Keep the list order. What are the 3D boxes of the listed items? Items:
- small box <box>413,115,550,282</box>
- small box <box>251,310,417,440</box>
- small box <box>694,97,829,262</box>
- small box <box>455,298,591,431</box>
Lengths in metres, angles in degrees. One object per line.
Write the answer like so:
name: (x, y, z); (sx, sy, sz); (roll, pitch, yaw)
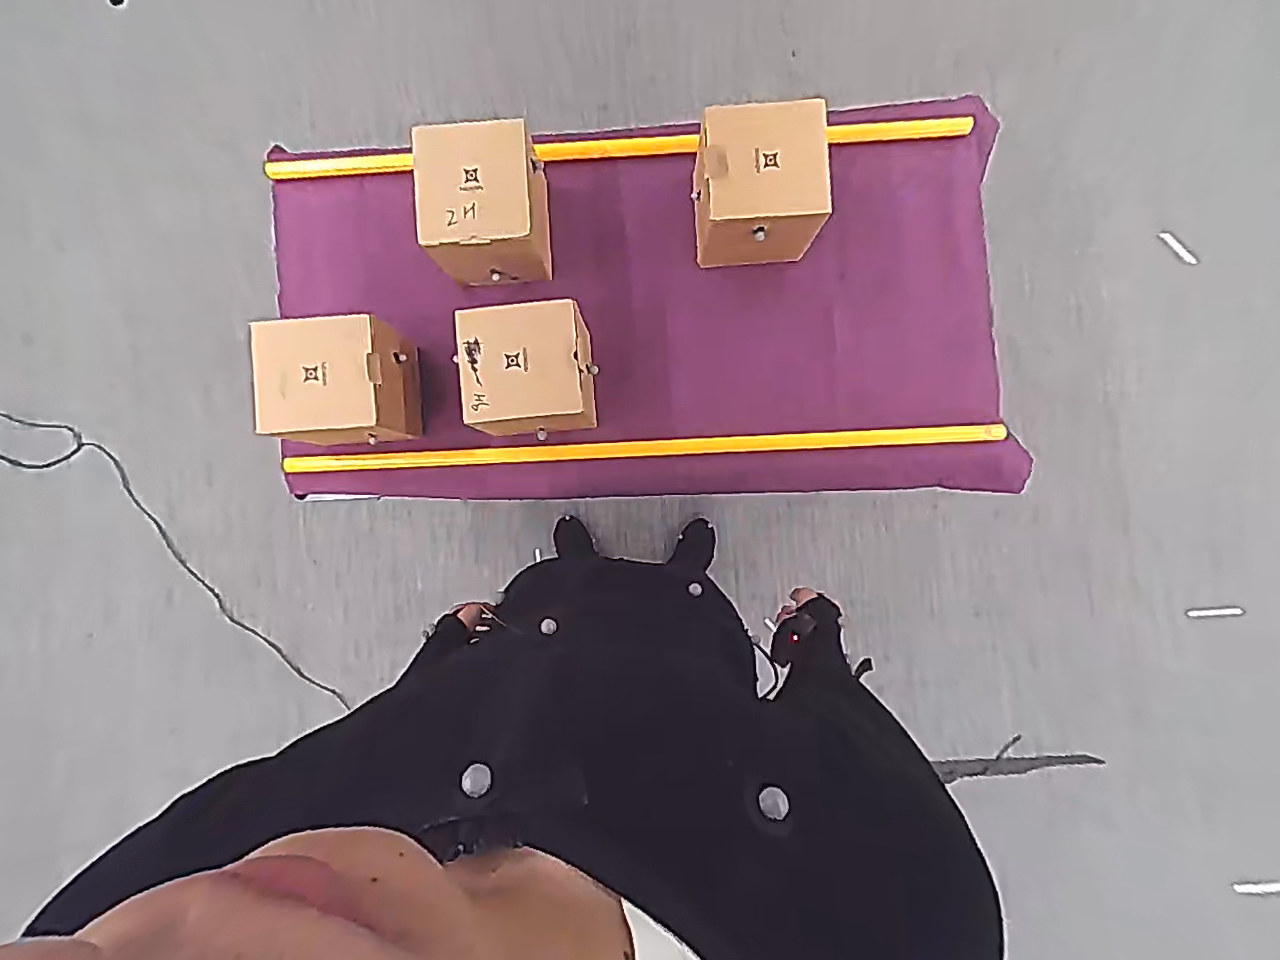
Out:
small box: (-0.242, -0.434, 0.856); (0.168, 0.176, 0.179); (-3, 90, 2)
small box: (-0.467, -0.157, 0.853); (0.179, 0.176, 0.168); (-4, 88, -1)
small box: (0.180, -0.458, 0.847); (0.179, 0.176, 0.168); (-3, 90, 2)
small box: (-0.172, -0.171, 0.848); (0.179, 0.176, 0.168); (-4, 88, 1)
